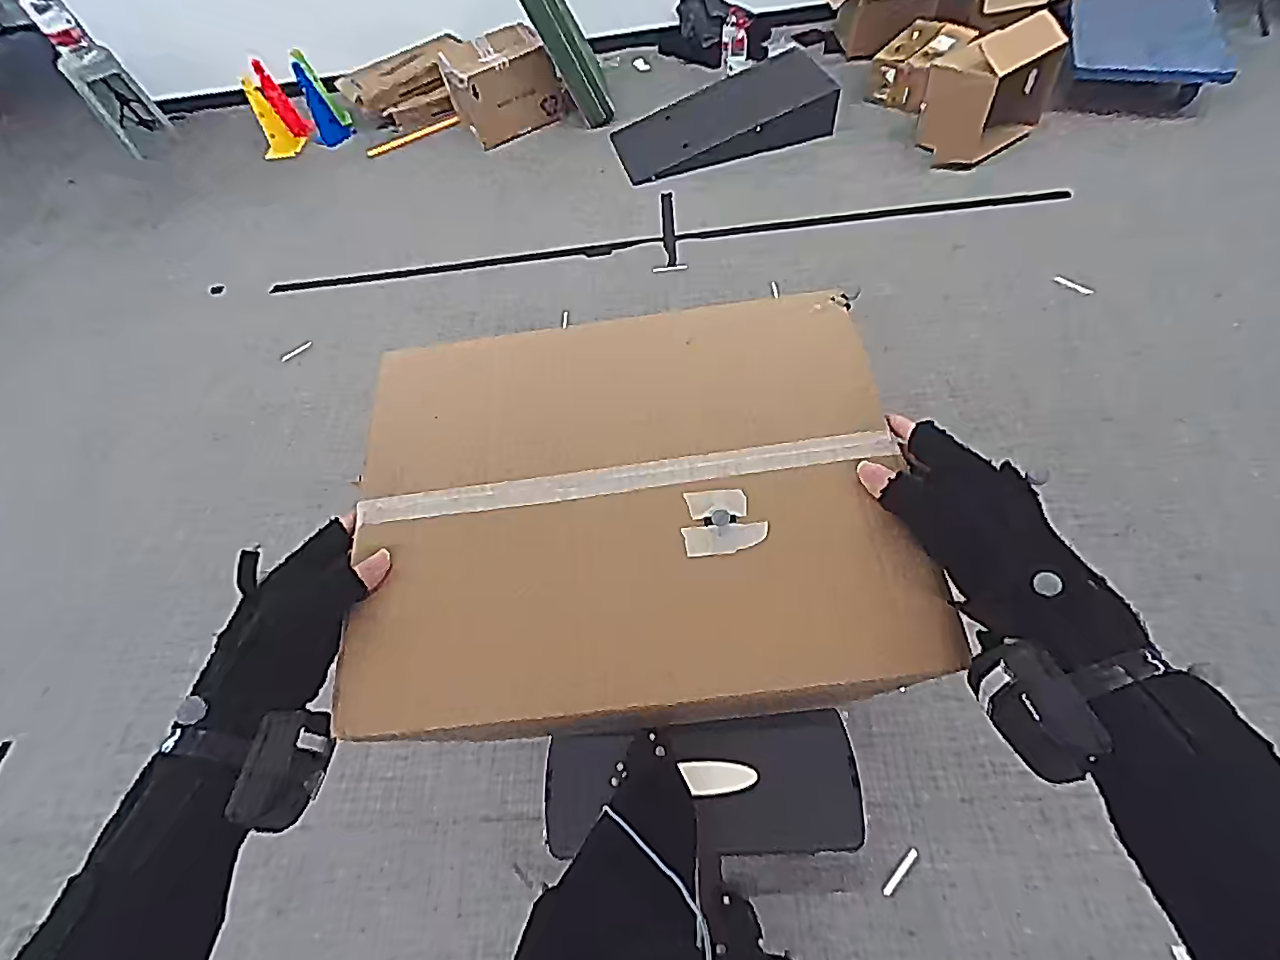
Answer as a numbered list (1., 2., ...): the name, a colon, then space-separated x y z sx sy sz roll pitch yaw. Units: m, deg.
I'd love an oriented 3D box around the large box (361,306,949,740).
1. large box: 0.003 0.072 0.555 0.408 0.320 0.320 -7 64 2
